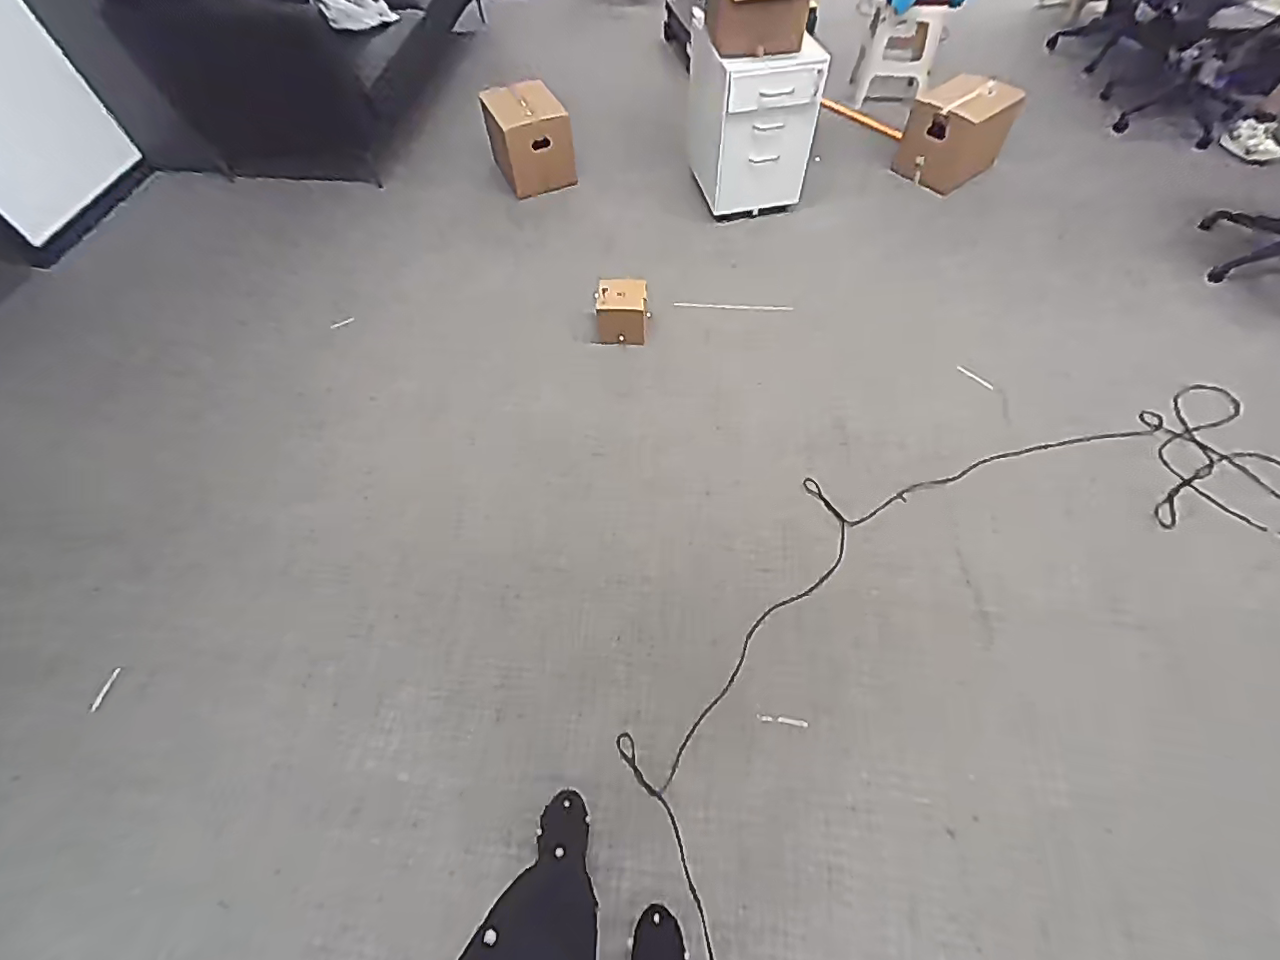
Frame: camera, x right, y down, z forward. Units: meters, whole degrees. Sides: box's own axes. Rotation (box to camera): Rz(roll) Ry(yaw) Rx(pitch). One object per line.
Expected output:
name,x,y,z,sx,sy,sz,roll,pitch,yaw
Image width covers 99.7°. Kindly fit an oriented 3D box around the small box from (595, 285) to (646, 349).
small box,-0.067,-0.613,2.044,0.179,0.176,0.168,3,57,4
